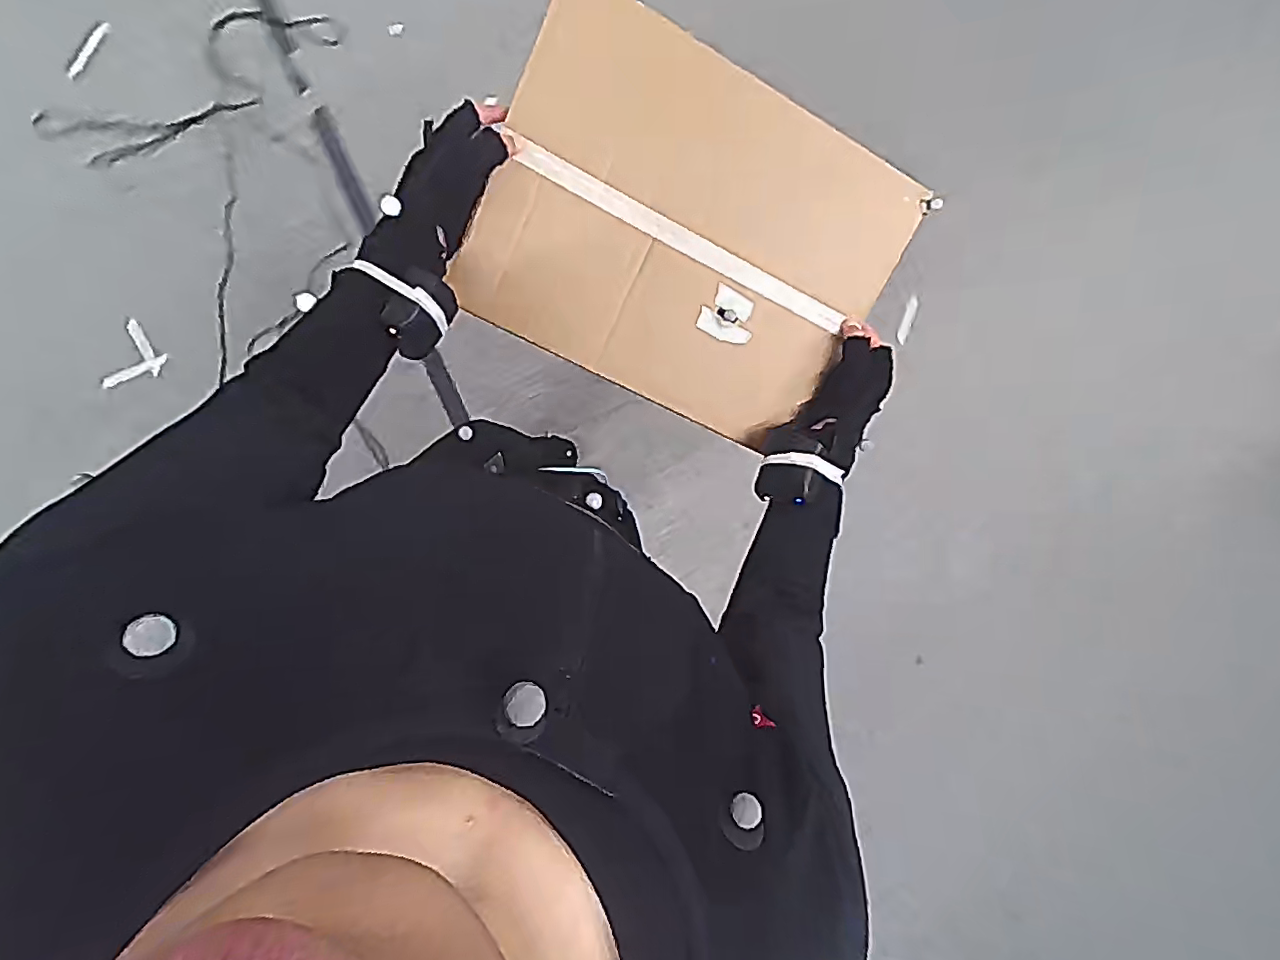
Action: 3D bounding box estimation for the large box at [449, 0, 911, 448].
[{"bbox_3d":[0.027,-0.281,0.696,0.408,0.320,0.320,23,103,-12],"label":"large box"}]
